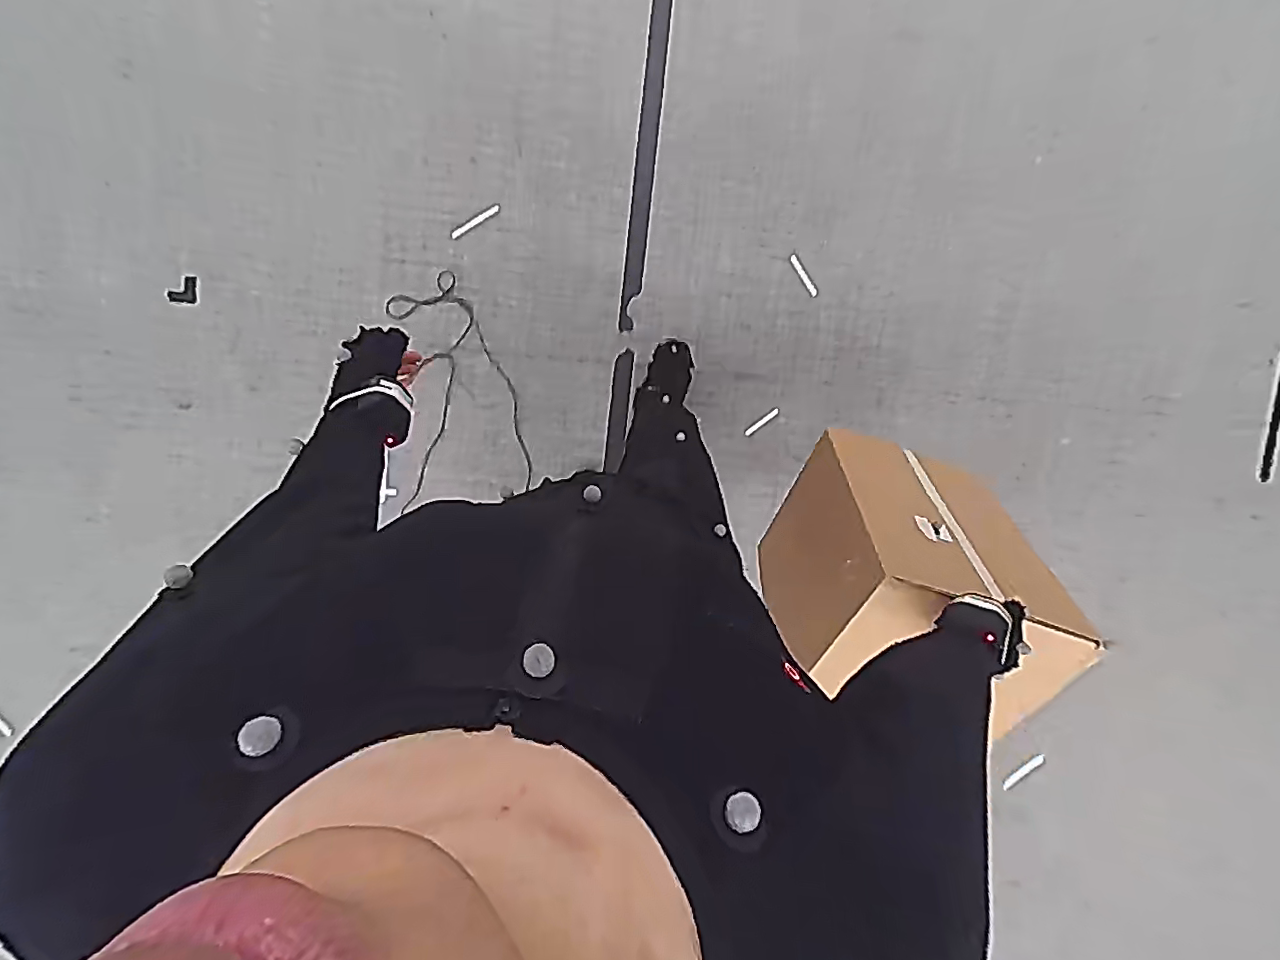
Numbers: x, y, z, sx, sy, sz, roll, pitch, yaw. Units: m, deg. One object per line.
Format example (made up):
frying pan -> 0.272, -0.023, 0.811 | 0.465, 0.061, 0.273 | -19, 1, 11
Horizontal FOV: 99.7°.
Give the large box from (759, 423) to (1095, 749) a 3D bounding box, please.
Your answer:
large box -> 0.424, 0.166, 0.935 | 0.320, 0.408, 0.320 | 18, 124, -5
